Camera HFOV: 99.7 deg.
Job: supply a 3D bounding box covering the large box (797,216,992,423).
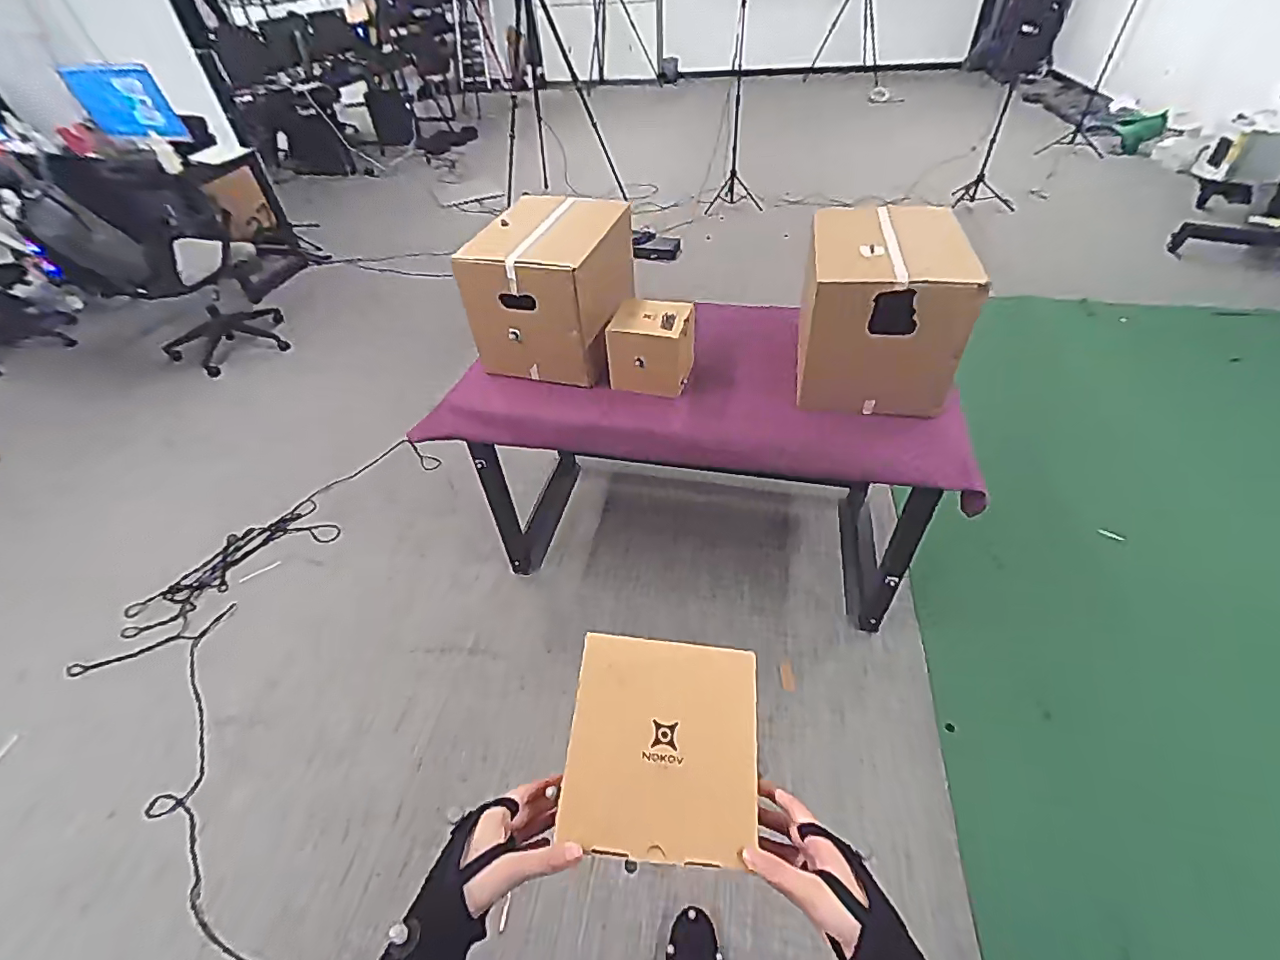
[{"bbox_3d":[0.547,-0.382,1.259,0.320,0.320,0.408,5,46,12],"label":"large box"}]
